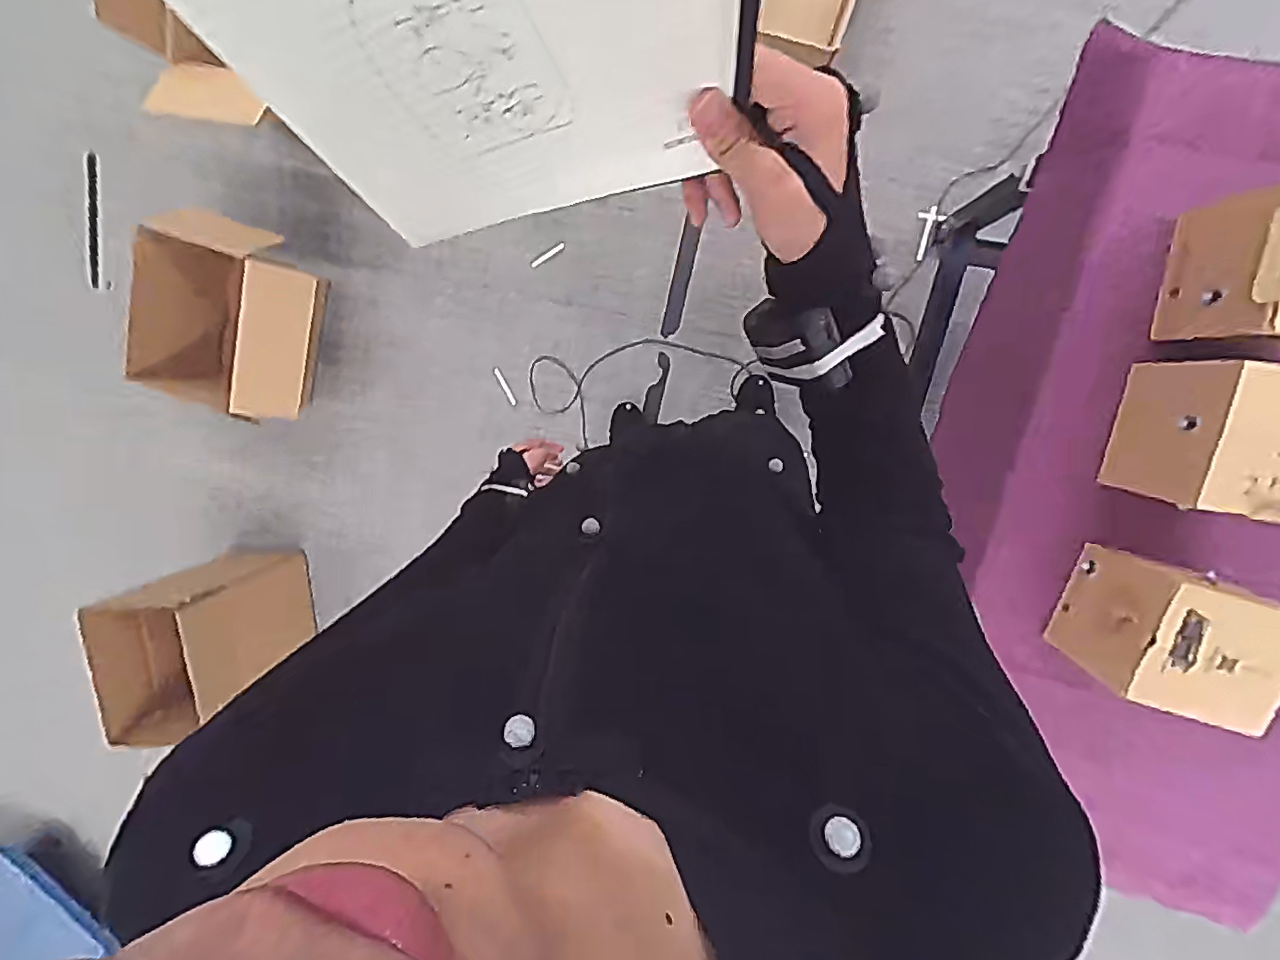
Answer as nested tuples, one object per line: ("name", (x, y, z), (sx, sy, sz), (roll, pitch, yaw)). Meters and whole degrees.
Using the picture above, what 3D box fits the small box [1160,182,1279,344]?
("small box", (0.793, -0.253, 0.645), (0.179, 0.176, 0.168), (5, 103, 6))

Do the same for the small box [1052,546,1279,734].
("small box", (0.726, 0.205, 0.743), (0.179, 0.176, 0.168), (16, 103, 3))
